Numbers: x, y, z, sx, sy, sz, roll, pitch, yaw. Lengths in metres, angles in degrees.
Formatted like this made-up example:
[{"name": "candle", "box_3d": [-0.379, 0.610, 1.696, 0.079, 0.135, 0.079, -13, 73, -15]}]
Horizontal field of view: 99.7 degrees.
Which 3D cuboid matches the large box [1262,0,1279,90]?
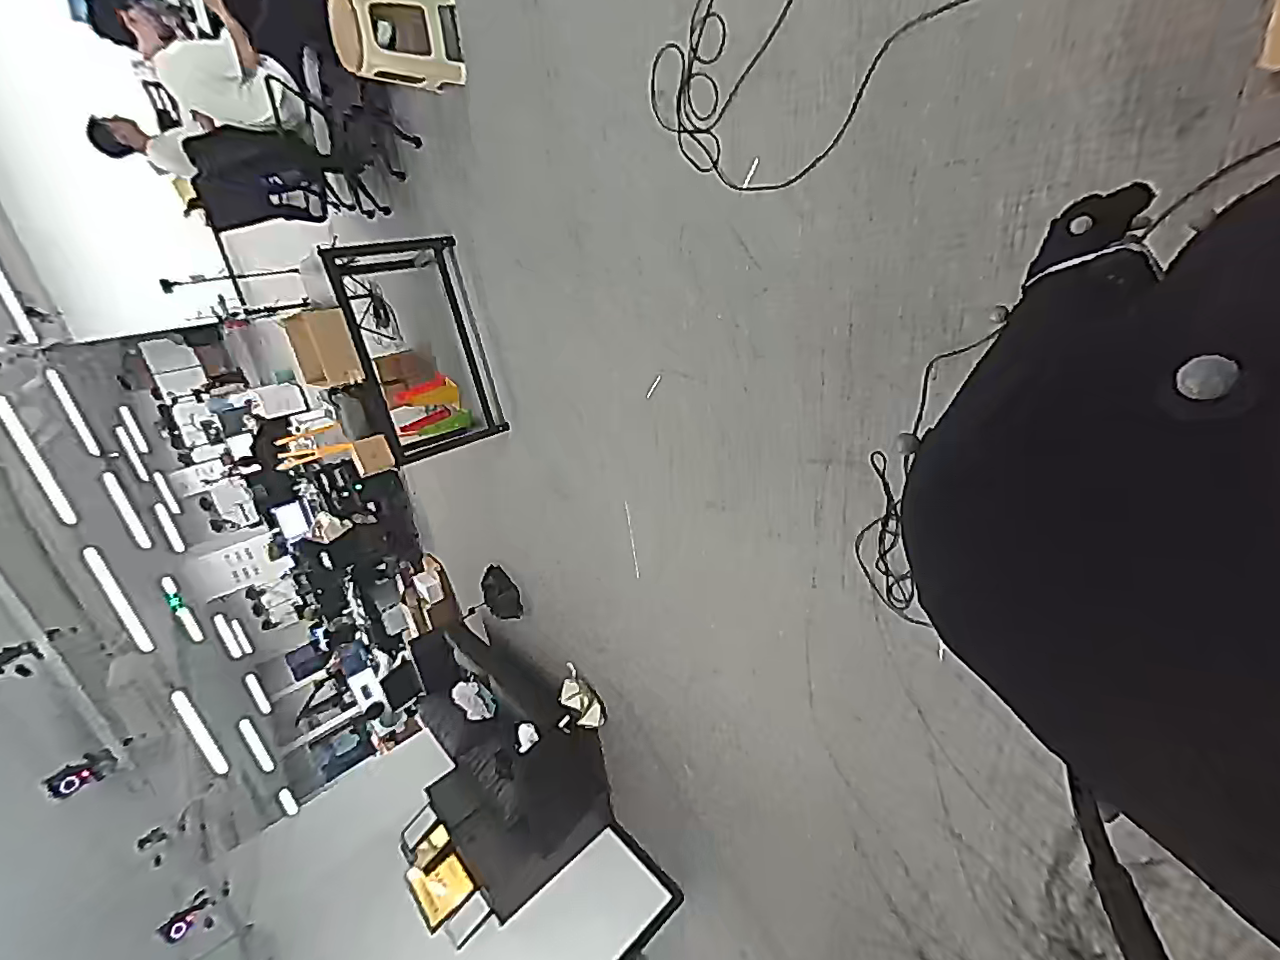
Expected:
[{"name": "large box", "box_3d": [1.033, -0.696, 0.608, 0.408, 0.320, 0.320, 14, 122, 45]}]
